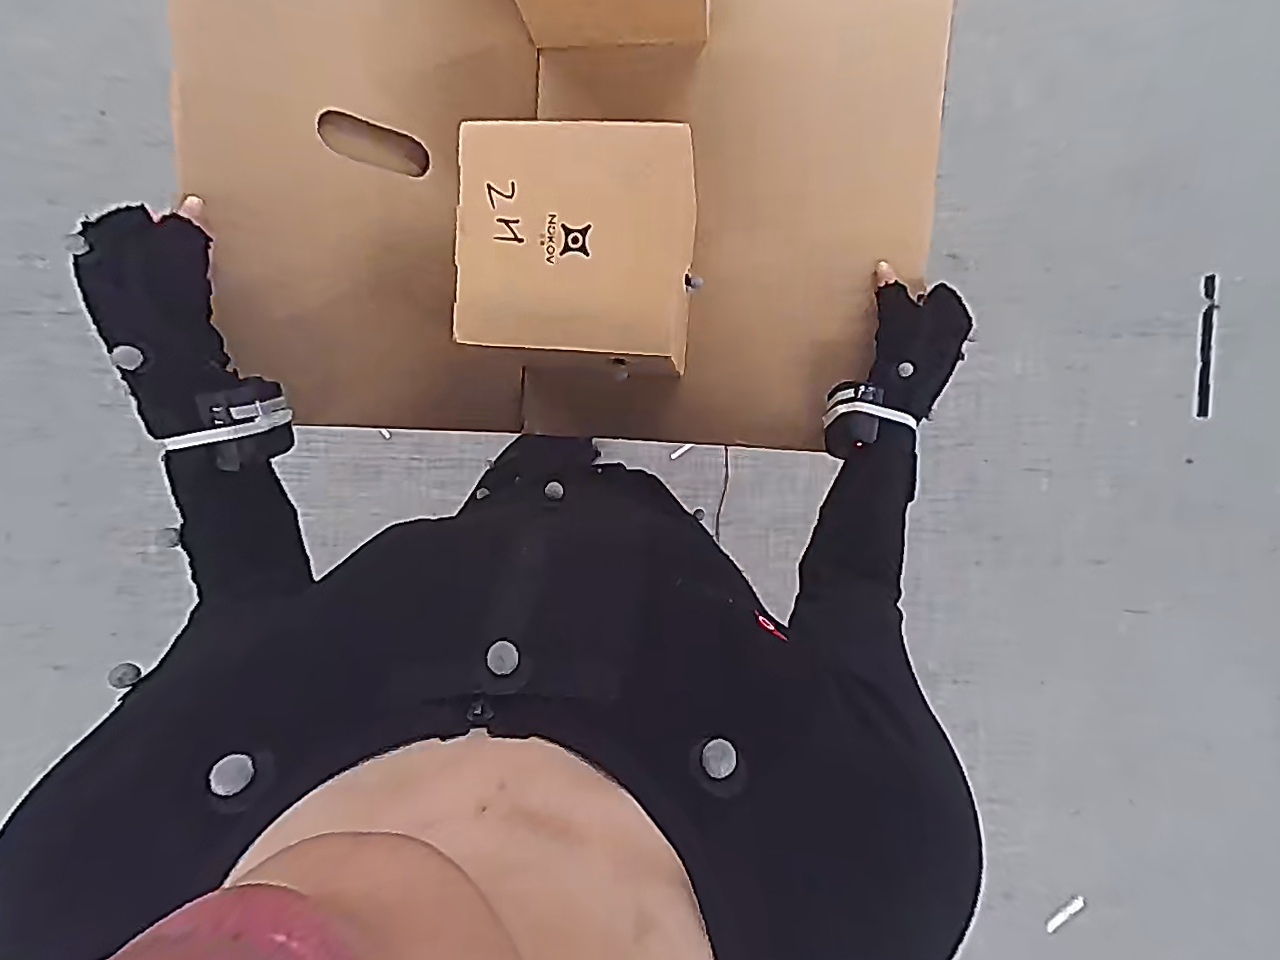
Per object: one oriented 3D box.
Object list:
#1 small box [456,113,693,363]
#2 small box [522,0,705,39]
[{"bbox_3d":[-0.046,-0.202,0.495,0.179,0.176,0.168,6,96,7],"label":"small box"},{"bbox_3d":[-0.030,-0.519,0.461,0.179,0.176,0.168,3,96,7],"label":"small box"}]
